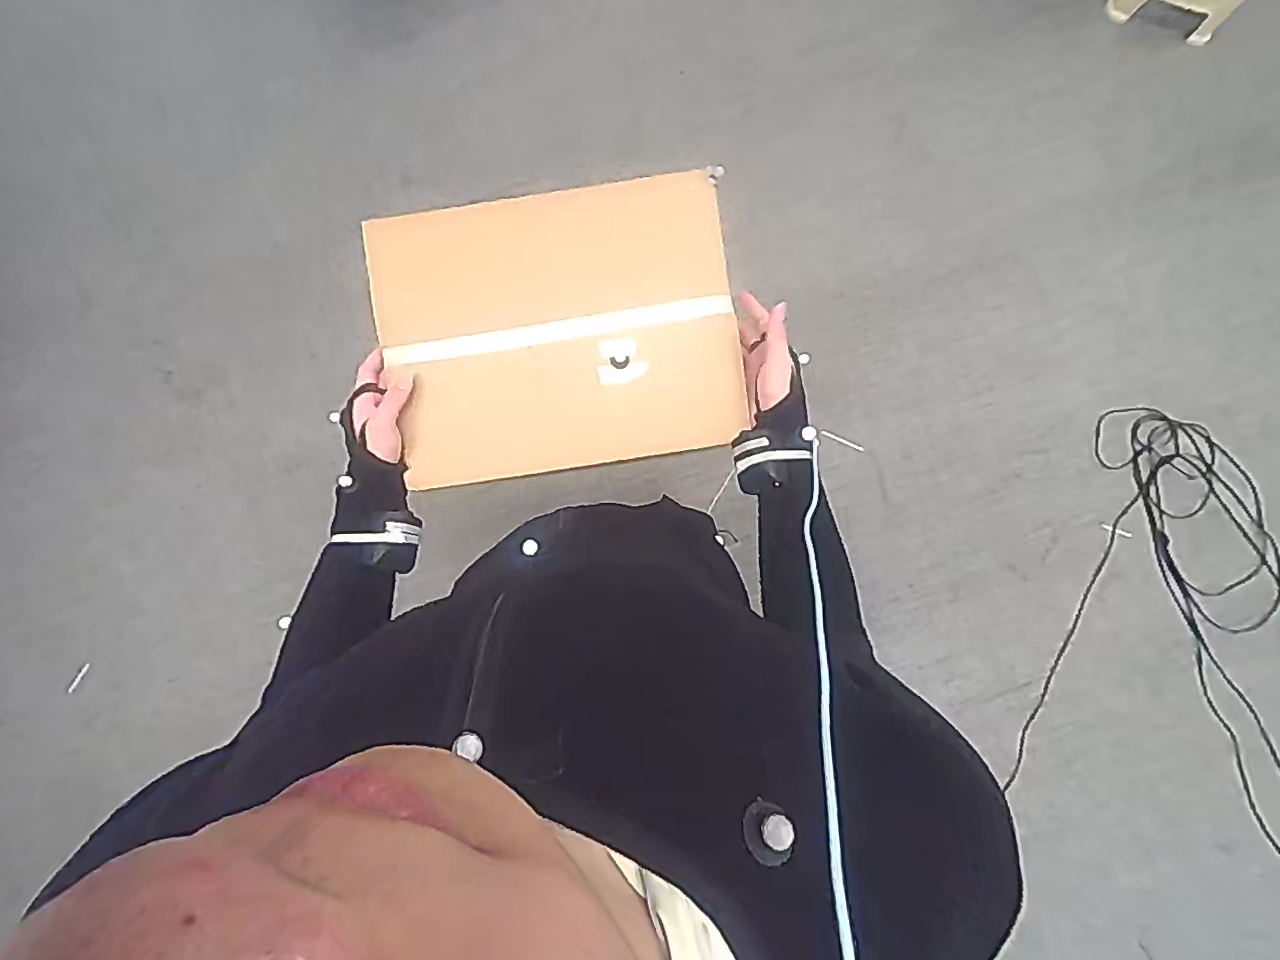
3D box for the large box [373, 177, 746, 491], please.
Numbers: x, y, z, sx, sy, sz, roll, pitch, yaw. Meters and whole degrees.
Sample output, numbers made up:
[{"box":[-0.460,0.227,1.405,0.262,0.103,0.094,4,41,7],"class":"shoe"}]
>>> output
[{"box":[-0.095,-0.172,0.780,0.408,0.320,0.320,-9,92,0],"class":"large box"}]
